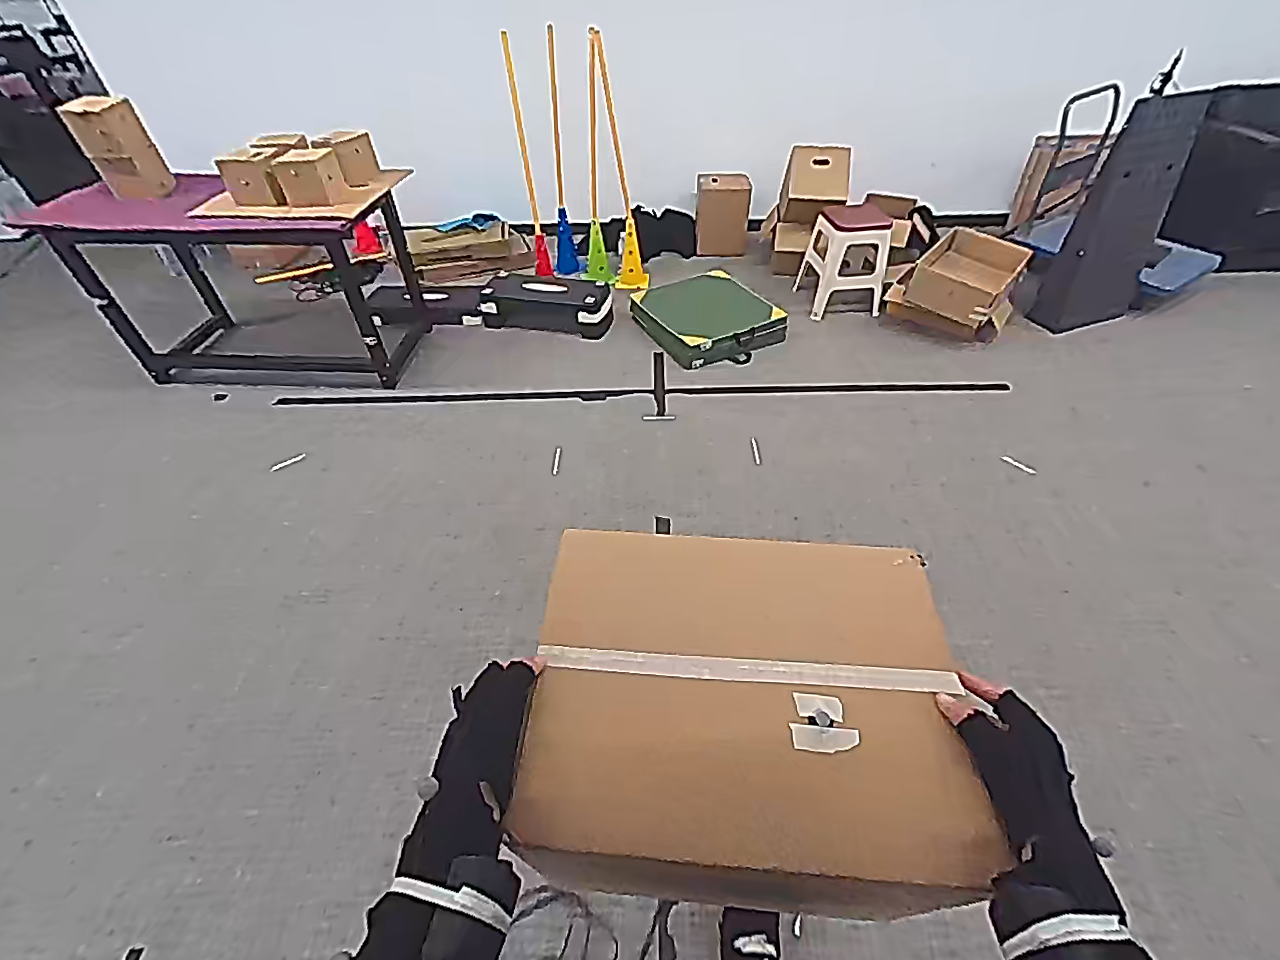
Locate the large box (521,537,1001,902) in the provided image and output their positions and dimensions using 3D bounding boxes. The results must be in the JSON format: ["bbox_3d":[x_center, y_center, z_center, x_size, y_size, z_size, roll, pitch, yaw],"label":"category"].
[{"bbox_3d":[0.105,0.289,0.652,0.408,0.320,0.320,3,49,4],"label":"large box"}]
